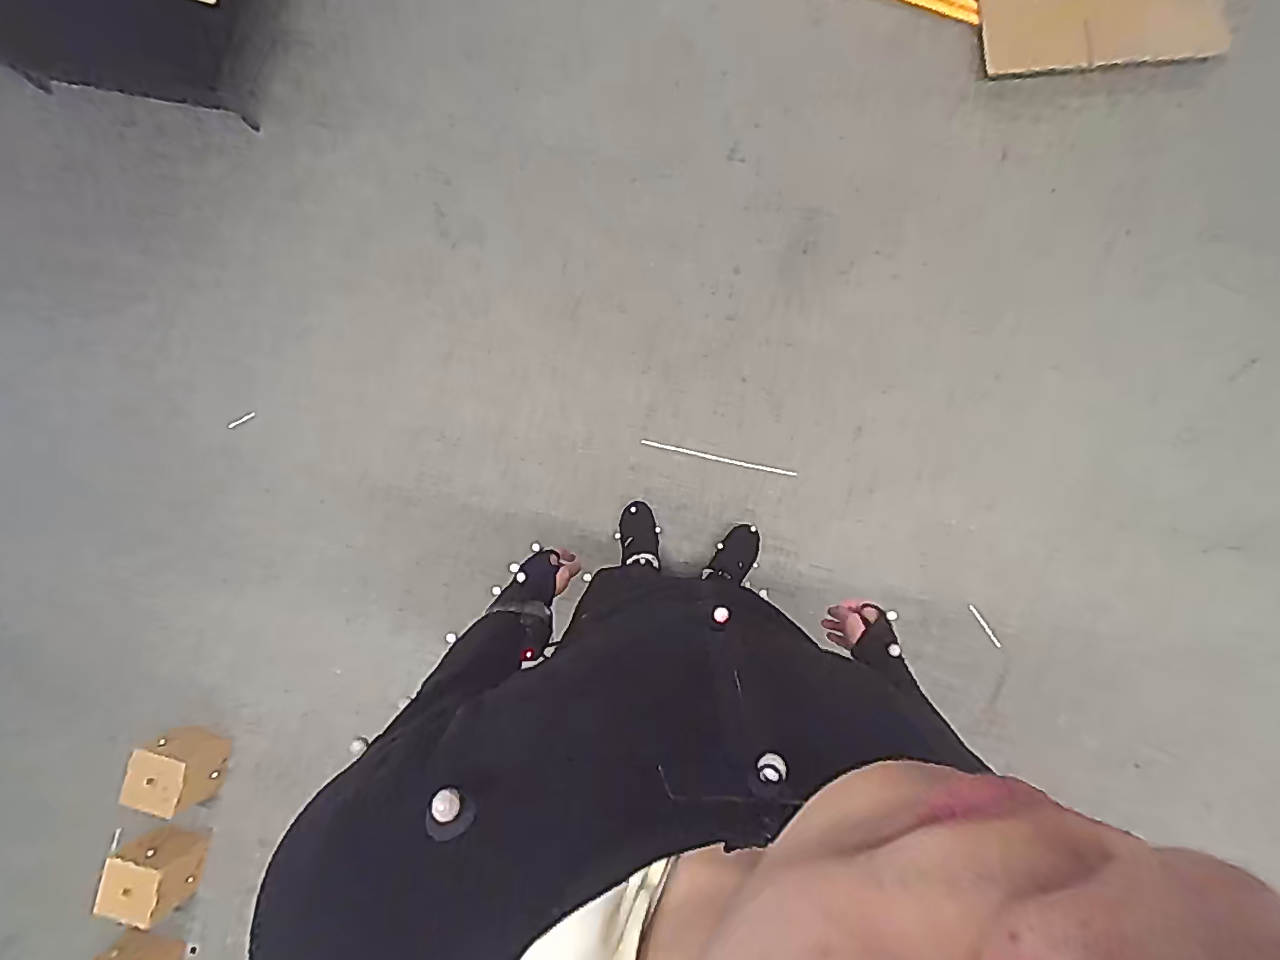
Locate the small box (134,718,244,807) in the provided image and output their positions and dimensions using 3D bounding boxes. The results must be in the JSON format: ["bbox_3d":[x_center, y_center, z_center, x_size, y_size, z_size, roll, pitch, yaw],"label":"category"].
[{"bbox_3d":[-1.383,0.859,1.666,0.179,0.176,0.168,15,88,6],"label":"small box"}]

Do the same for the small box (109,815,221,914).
[{"bbox_3d":[-1.449,1.166,1.657,0.179,0.176,0.168,12,88,5],"label":"small box"}]
